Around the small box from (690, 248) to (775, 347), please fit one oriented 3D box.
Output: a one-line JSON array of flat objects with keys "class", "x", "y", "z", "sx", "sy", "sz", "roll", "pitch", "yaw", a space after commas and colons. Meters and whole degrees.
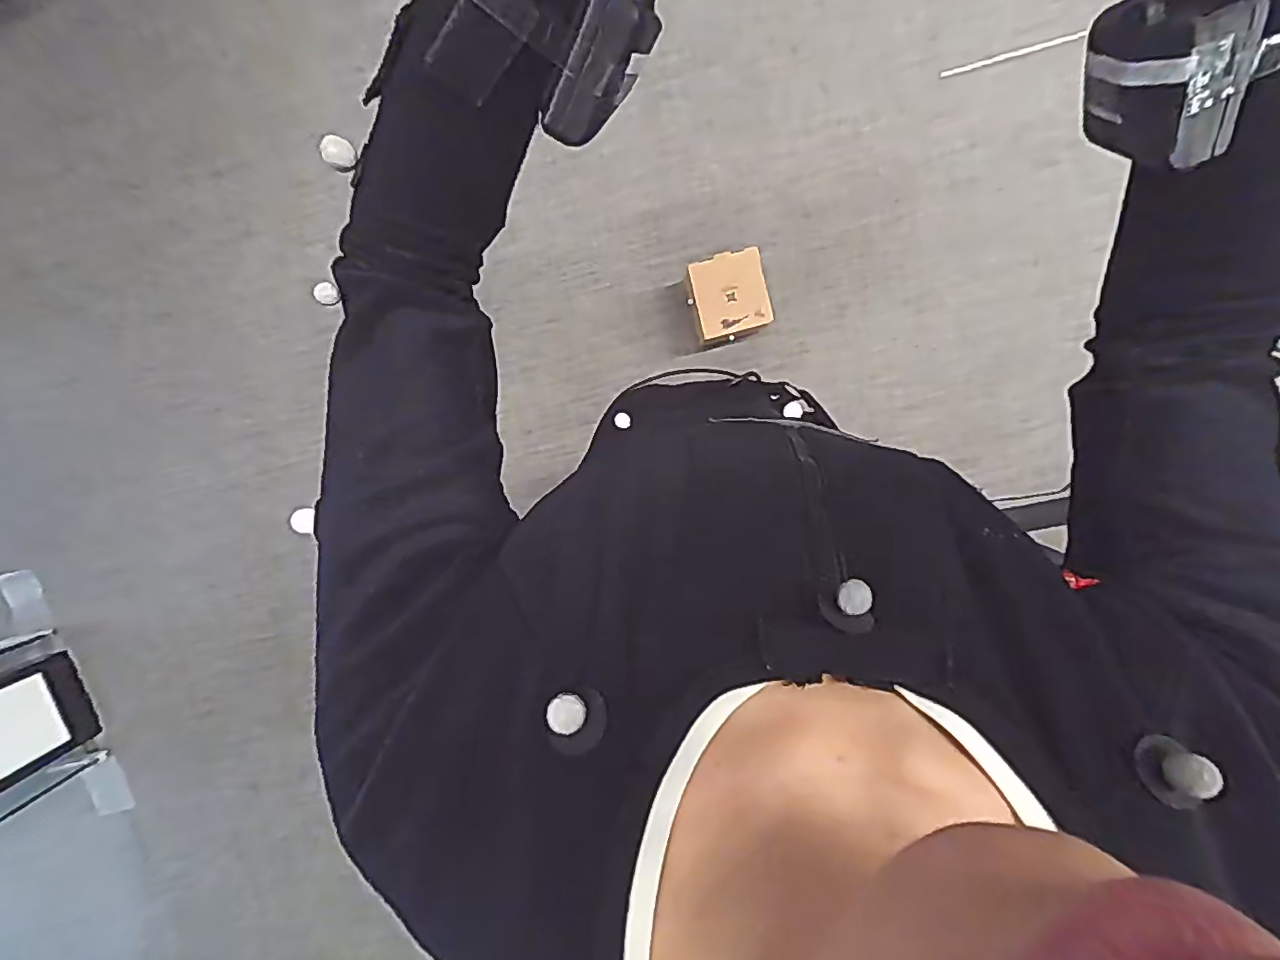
[{"class": "small box", "x": 0.218, "y": -0.436, "z": 1.319, "sx": 0.168, "sy": 0.176, "sz": 0.179, "roll": -13, "pitch": 97, "yaw": 5}]
